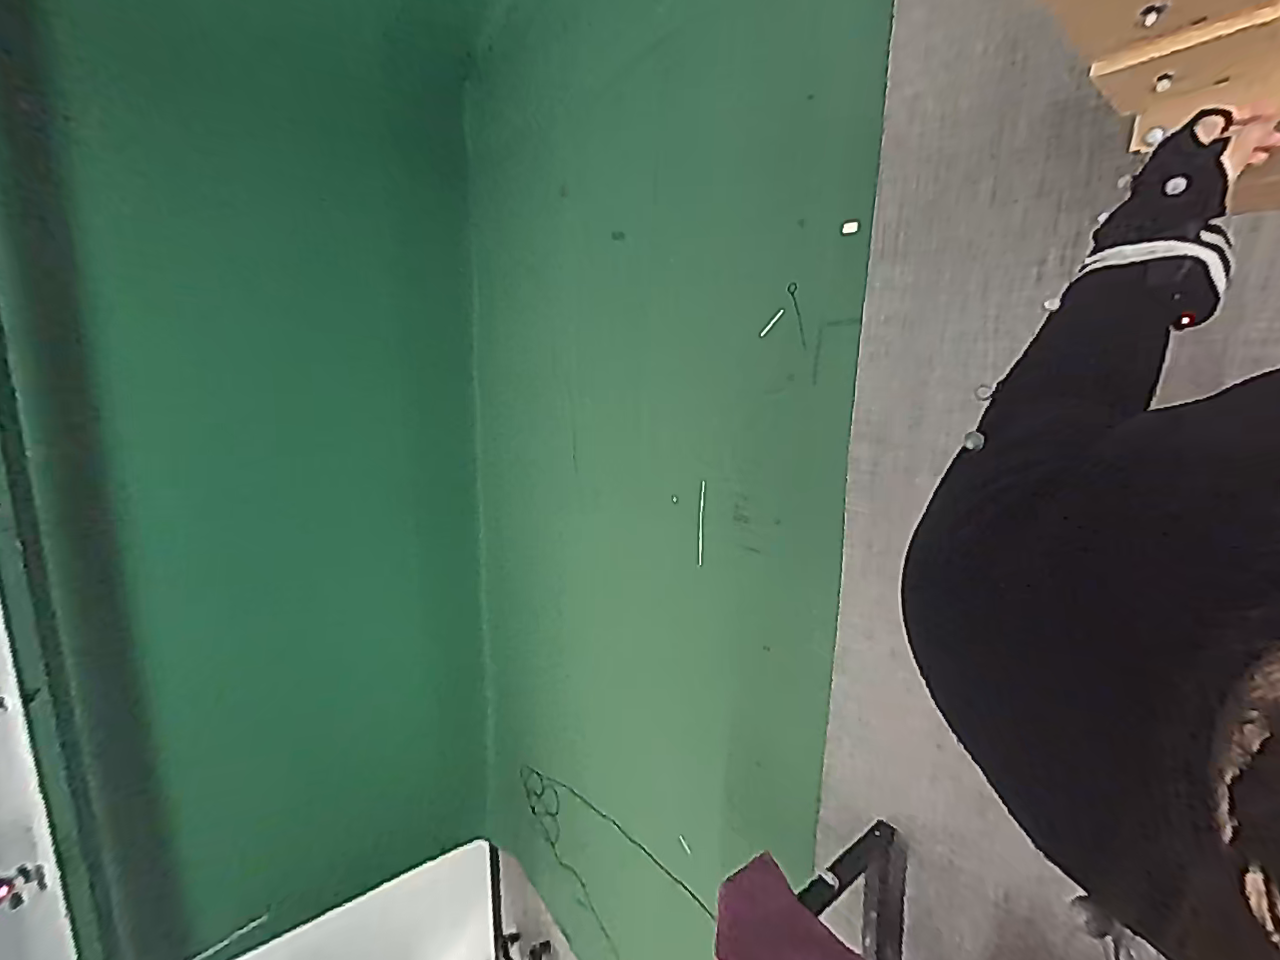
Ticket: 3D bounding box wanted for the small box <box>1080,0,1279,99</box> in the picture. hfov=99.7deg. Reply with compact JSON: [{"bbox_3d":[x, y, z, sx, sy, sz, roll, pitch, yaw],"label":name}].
[{"bbox_3d":[0.678,-0.602,0.661,0.168,0.176,0.179,16,108,50],"label":"small box"}]
